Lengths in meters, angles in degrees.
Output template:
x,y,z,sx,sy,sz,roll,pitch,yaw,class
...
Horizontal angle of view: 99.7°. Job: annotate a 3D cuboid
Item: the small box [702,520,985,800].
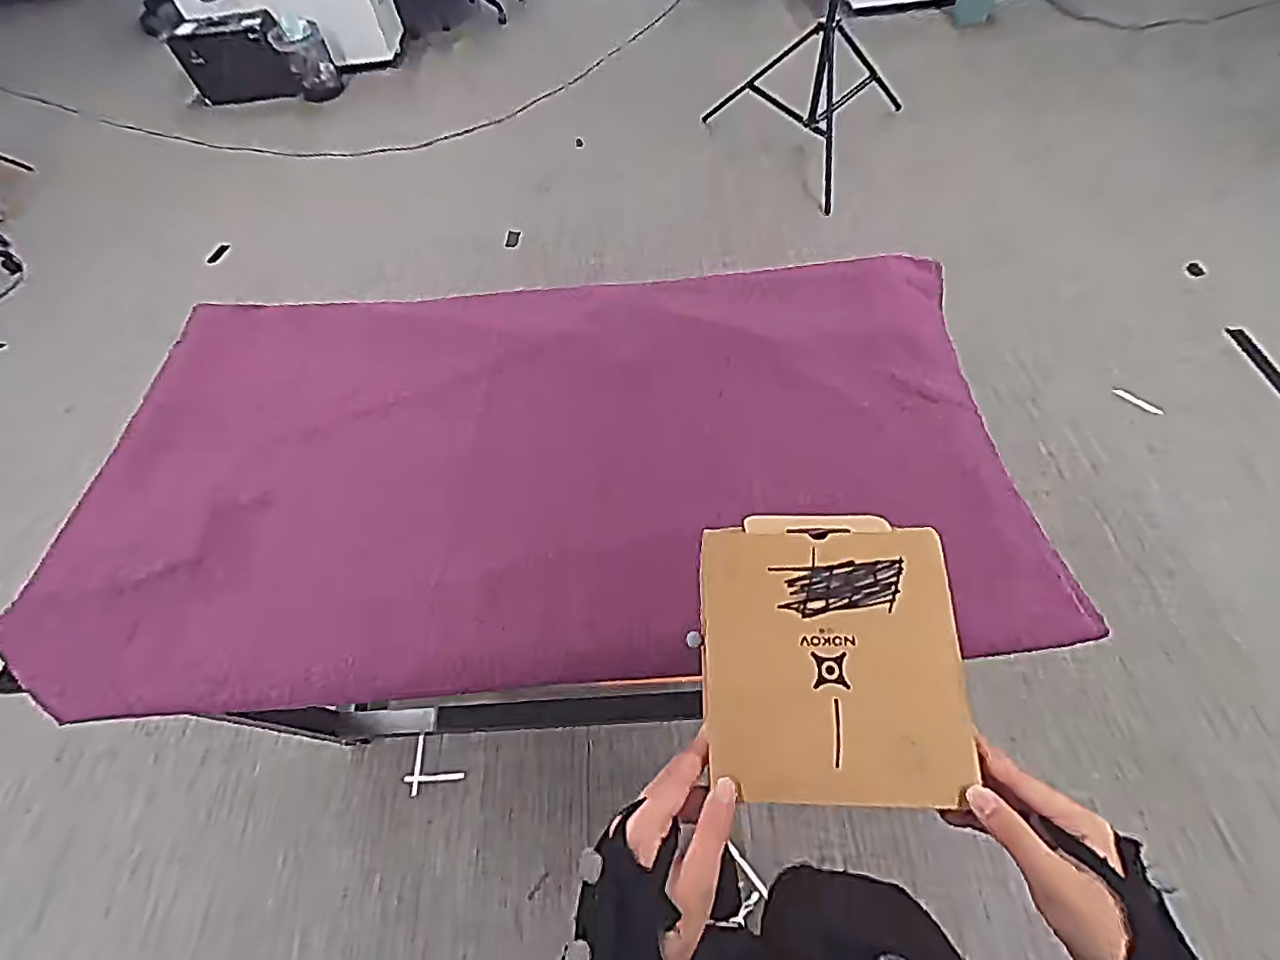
x,y,z,sx,sy,sz,roll,pitch,yaw,class
0.135,0.139,0.434,0.168,0.176,0.179,-1,70,6,small box
